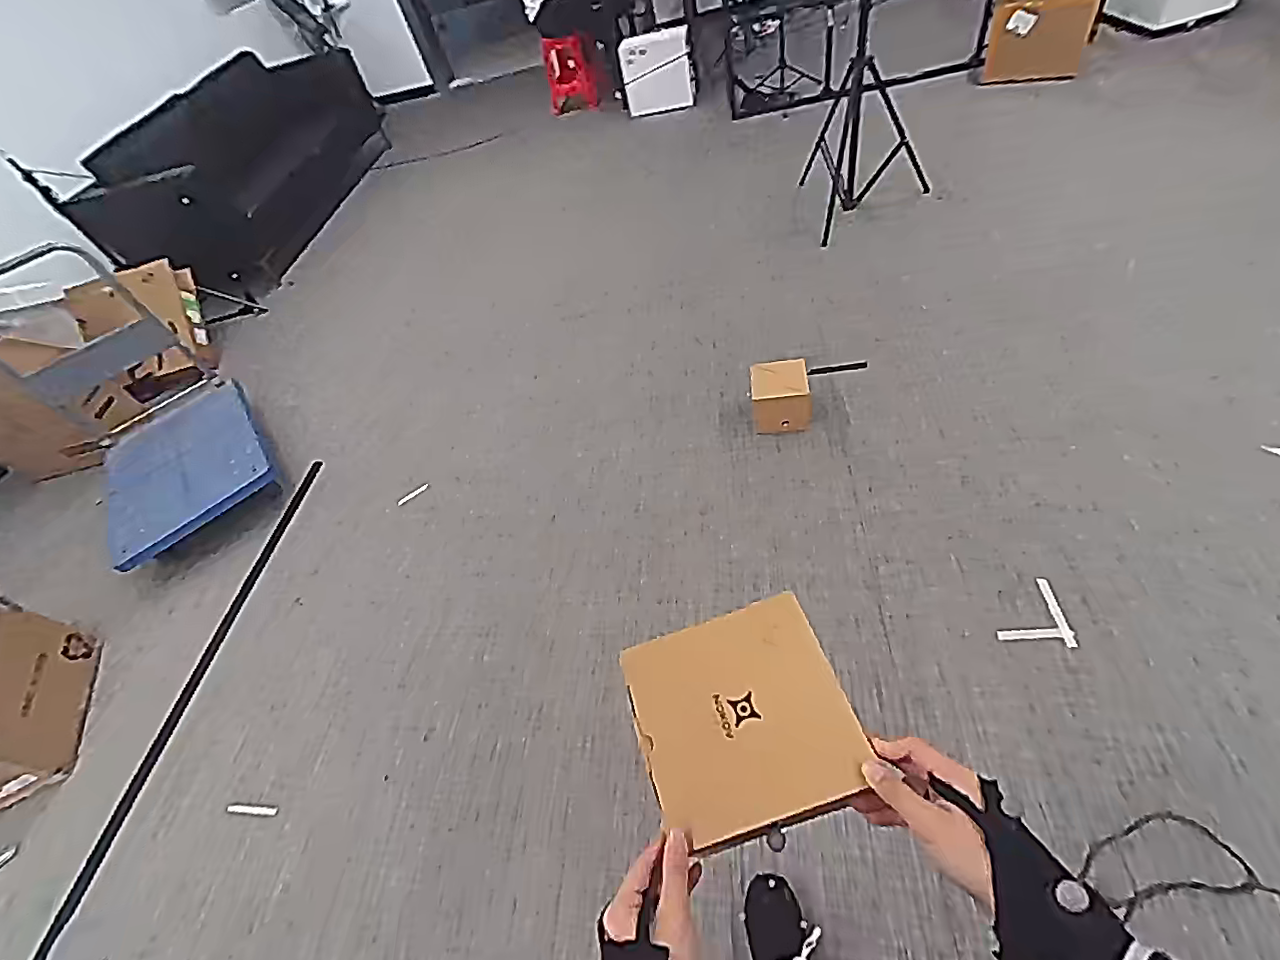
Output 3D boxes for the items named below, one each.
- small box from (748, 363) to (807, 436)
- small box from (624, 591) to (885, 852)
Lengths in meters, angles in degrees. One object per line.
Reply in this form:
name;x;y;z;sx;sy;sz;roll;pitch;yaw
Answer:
small box;0.454;-0.268;1.790;0.179;0.176;0.168;-4;52;12
small box;0.102;0.235;0.521;0.179;0.176;0.168;-21;53;2
